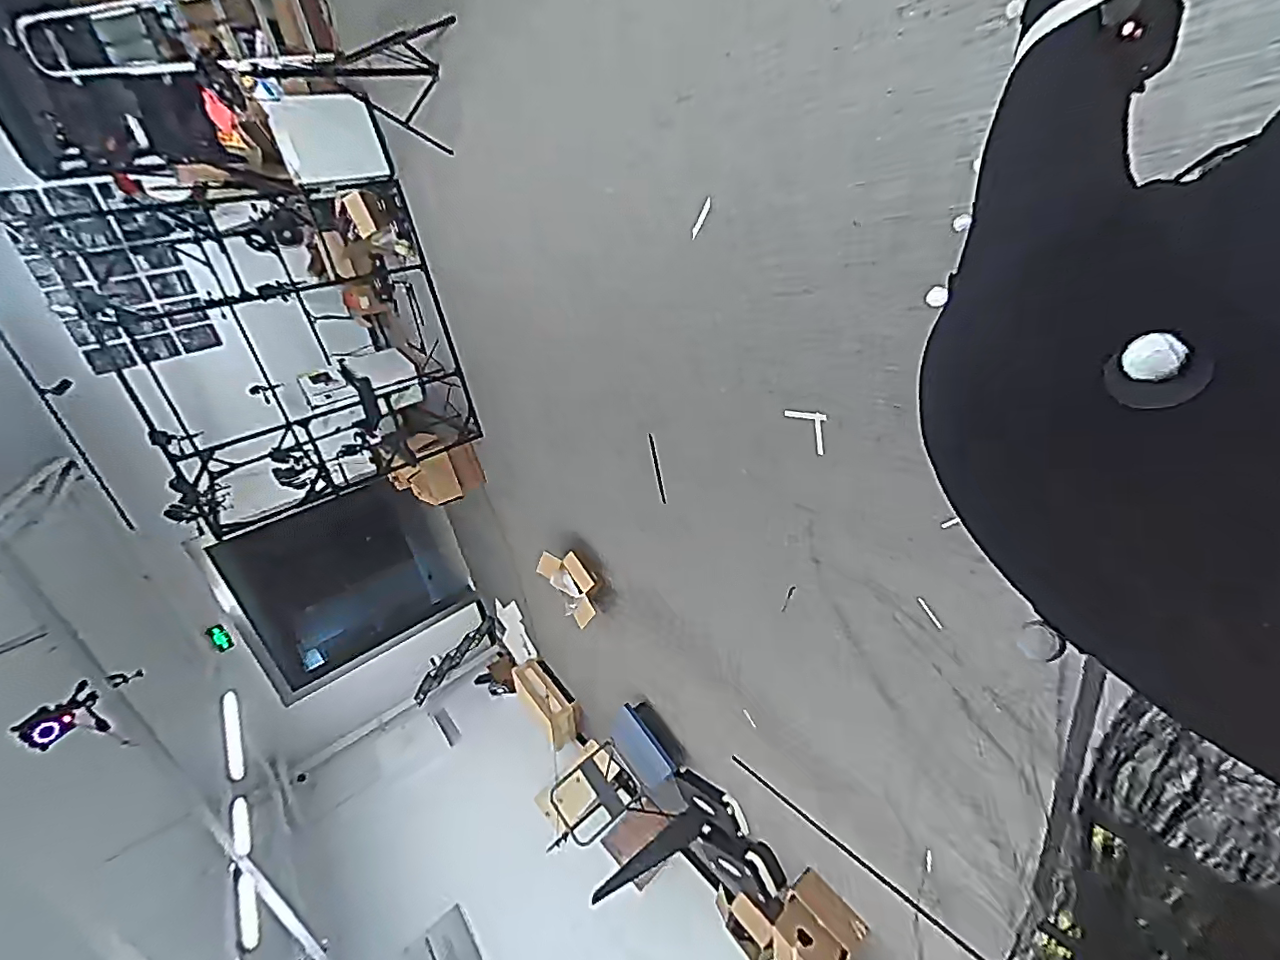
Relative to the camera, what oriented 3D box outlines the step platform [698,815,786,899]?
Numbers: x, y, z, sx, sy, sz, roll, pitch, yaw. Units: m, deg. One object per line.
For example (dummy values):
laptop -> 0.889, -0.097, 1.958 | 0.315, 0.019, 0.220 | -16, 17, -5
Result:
step platform -> 0.692, 2.630, 3.789 | 0.684, 0.204, 0.286 | -27, 91, 58
